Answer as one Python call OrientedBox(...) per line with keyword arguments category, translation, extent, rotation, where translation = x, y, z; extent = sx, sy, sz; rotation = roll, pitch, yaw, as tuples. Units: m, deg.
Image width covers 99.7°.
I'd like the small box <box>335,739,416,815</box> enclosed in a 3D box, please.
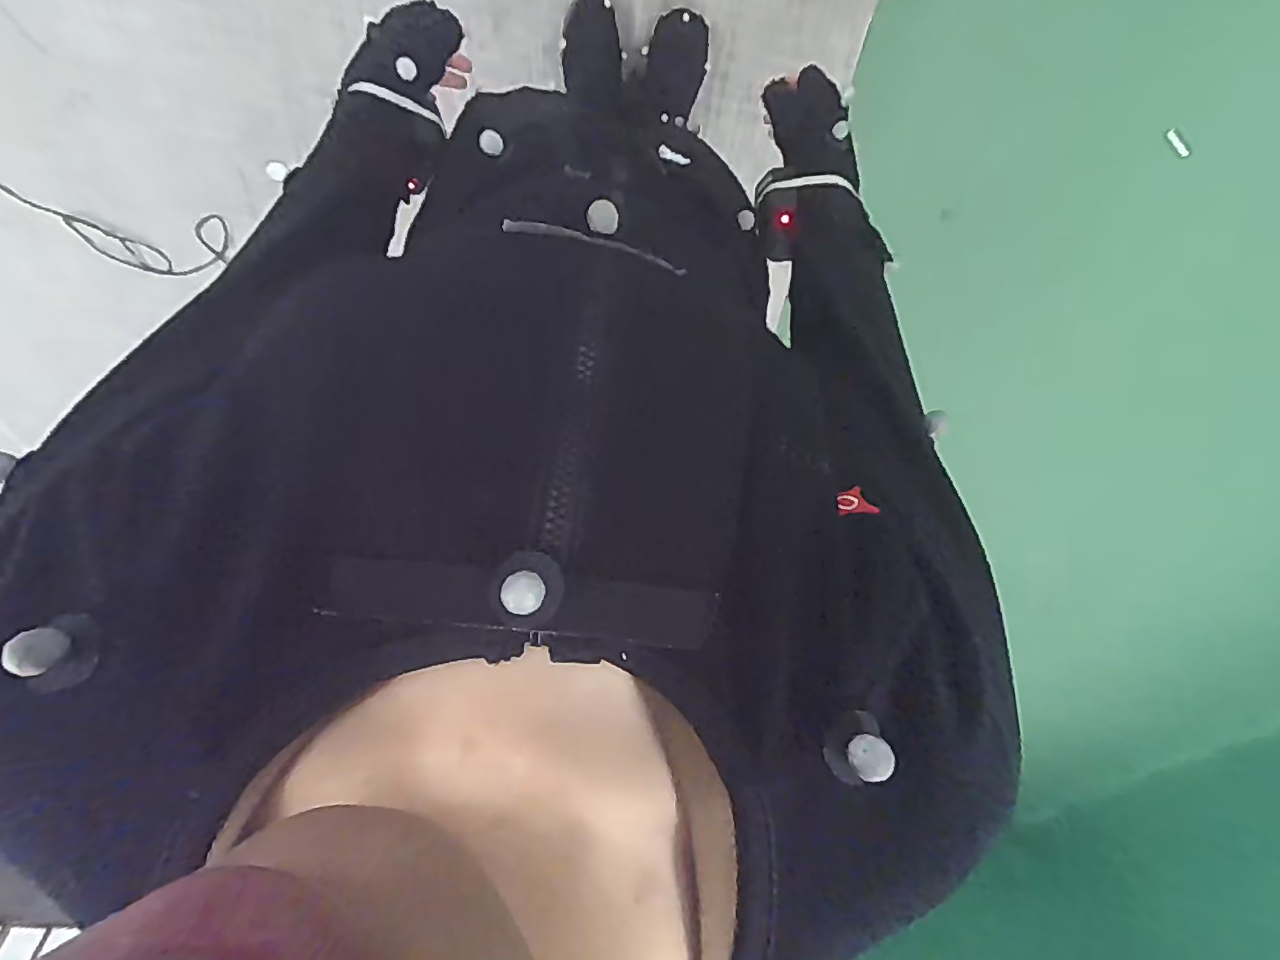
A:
OrientedBox(category="small box", translation=(-0.845, 0.962, 1.750), extent=(0.168, 0.176, 0.179), rotation=(5, 135, -1))
